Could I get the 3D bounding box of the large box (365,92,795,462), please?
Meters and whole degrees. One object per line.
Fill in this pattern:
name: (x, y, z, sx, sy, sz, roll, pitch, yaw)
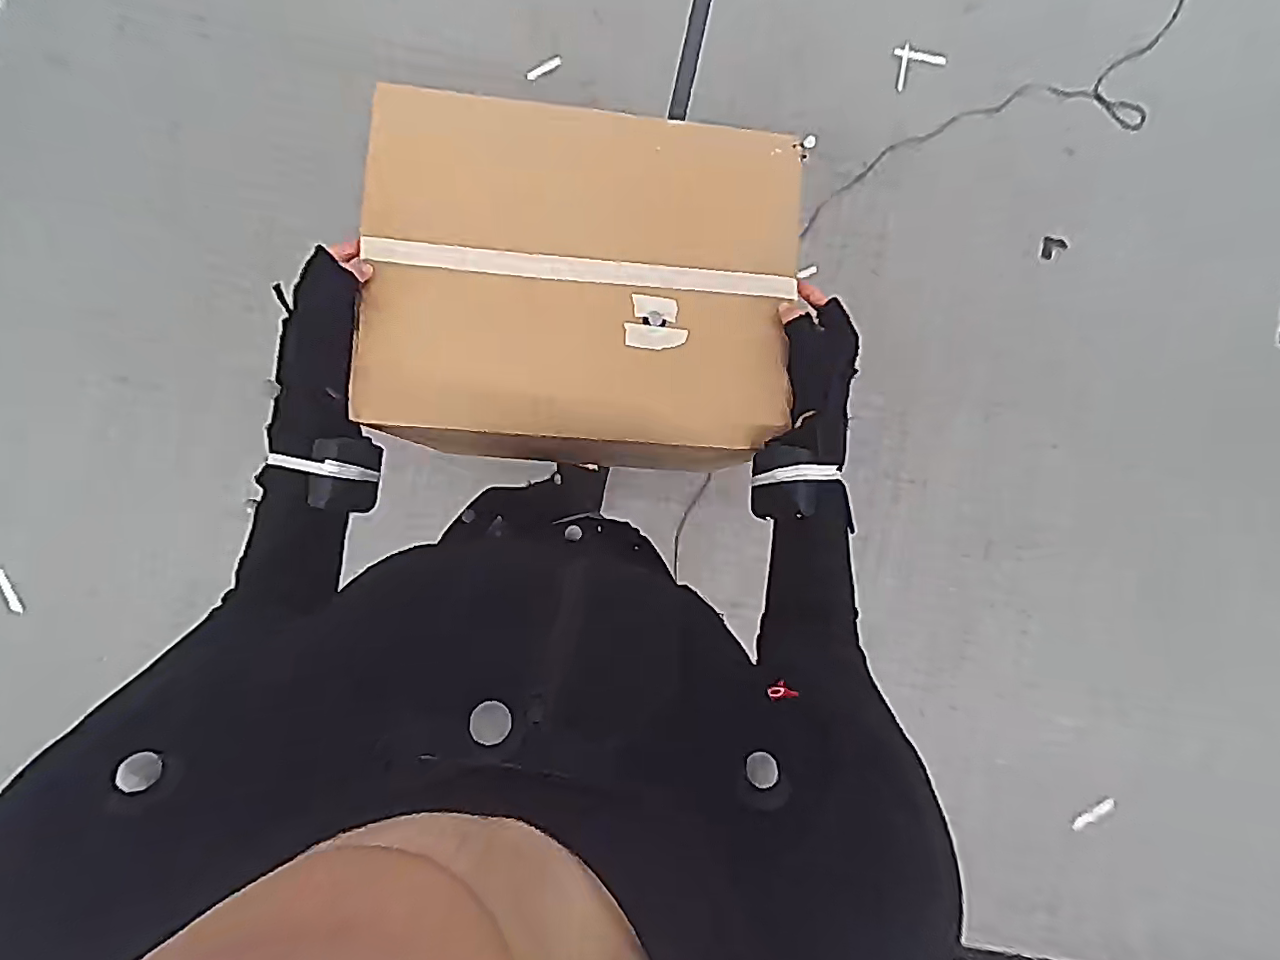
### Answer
large box: (-0.064, -0.195, 0.664, 0.408, 0.320, 0.320, 4, 88, -6)
